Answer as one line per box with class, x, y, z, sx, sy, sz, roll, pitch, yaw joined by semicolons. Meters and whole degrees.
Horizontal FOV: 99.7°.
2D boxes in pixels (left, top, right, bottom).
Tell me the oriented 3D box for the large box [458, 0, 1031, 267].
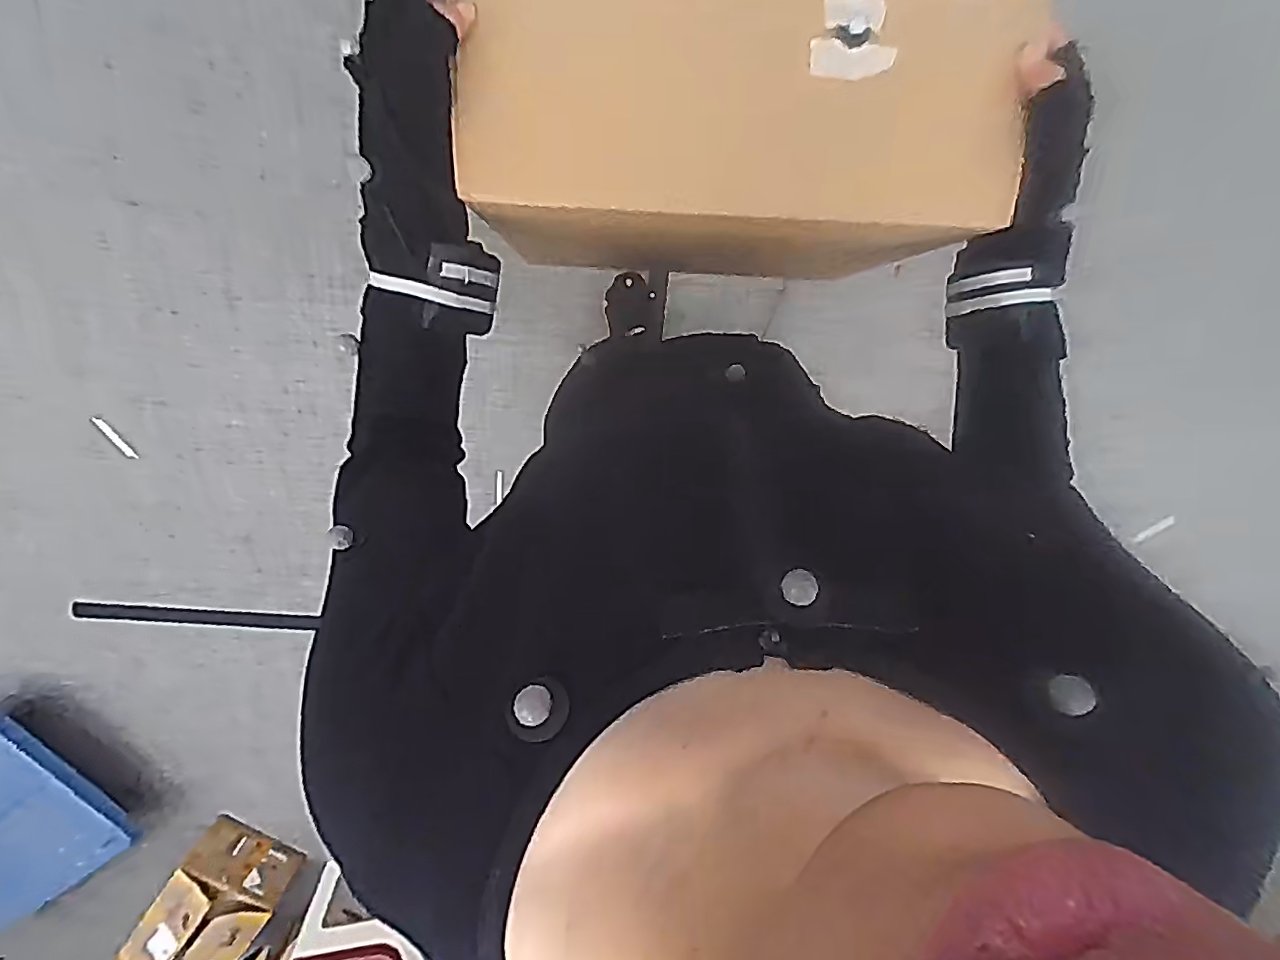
large box;0.066;-0.391;0.507;0.408;0.320;0.320;1;104;-4
